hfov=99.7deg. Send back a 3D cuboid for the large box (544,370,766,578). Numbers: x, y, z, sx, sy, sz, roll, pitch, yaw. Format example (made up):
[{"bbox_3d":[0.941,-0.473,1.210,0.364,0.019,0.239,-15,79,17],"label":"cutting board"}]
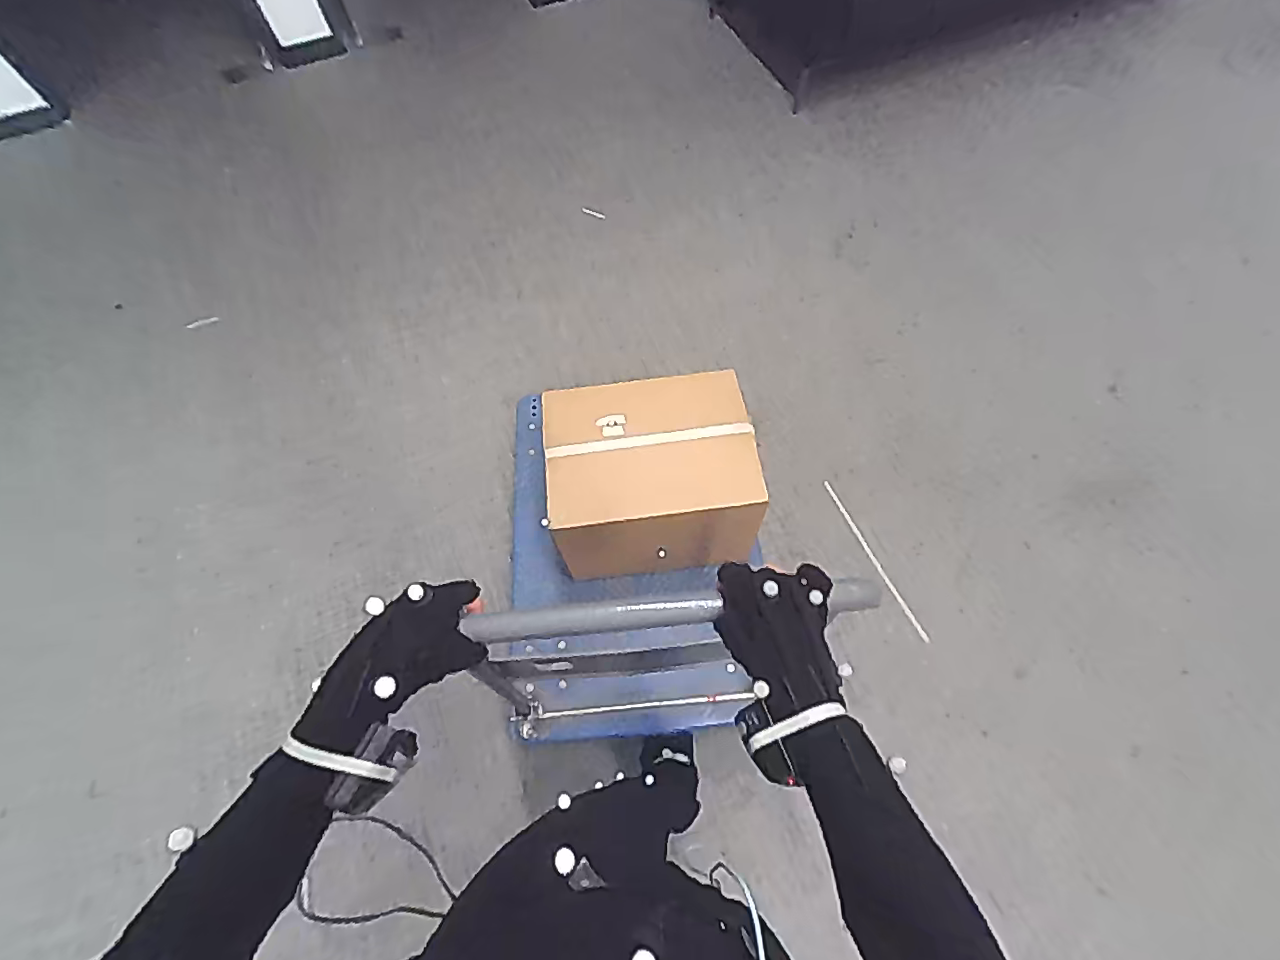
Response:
[{"bbox_3d":[0.028,0.000,1.194,0.408,0.320,0.320,-9,62,-1],"label":"large box"}]
